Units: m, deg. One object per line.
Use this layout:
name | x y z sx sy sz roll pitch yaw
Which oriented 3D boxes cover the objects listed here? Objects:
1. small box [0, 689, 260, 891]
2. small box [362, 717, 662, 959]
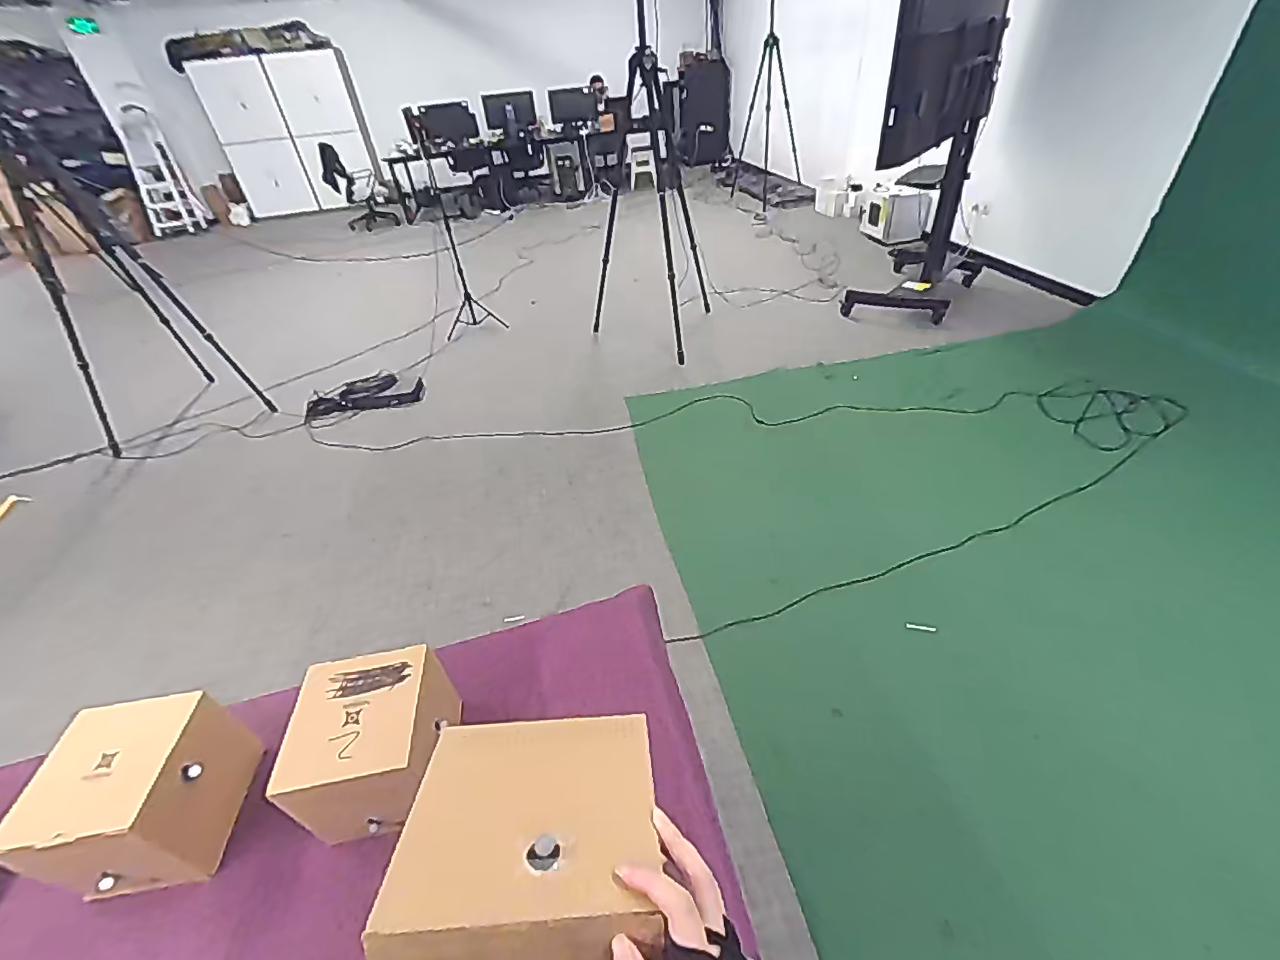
small box | -0.660 0.415 0.729 0.168 0.176 0.179 -9 40 -2
small box | -0.078 0.305 0.414 0.179 0.168 0.176 -2 17 -2
